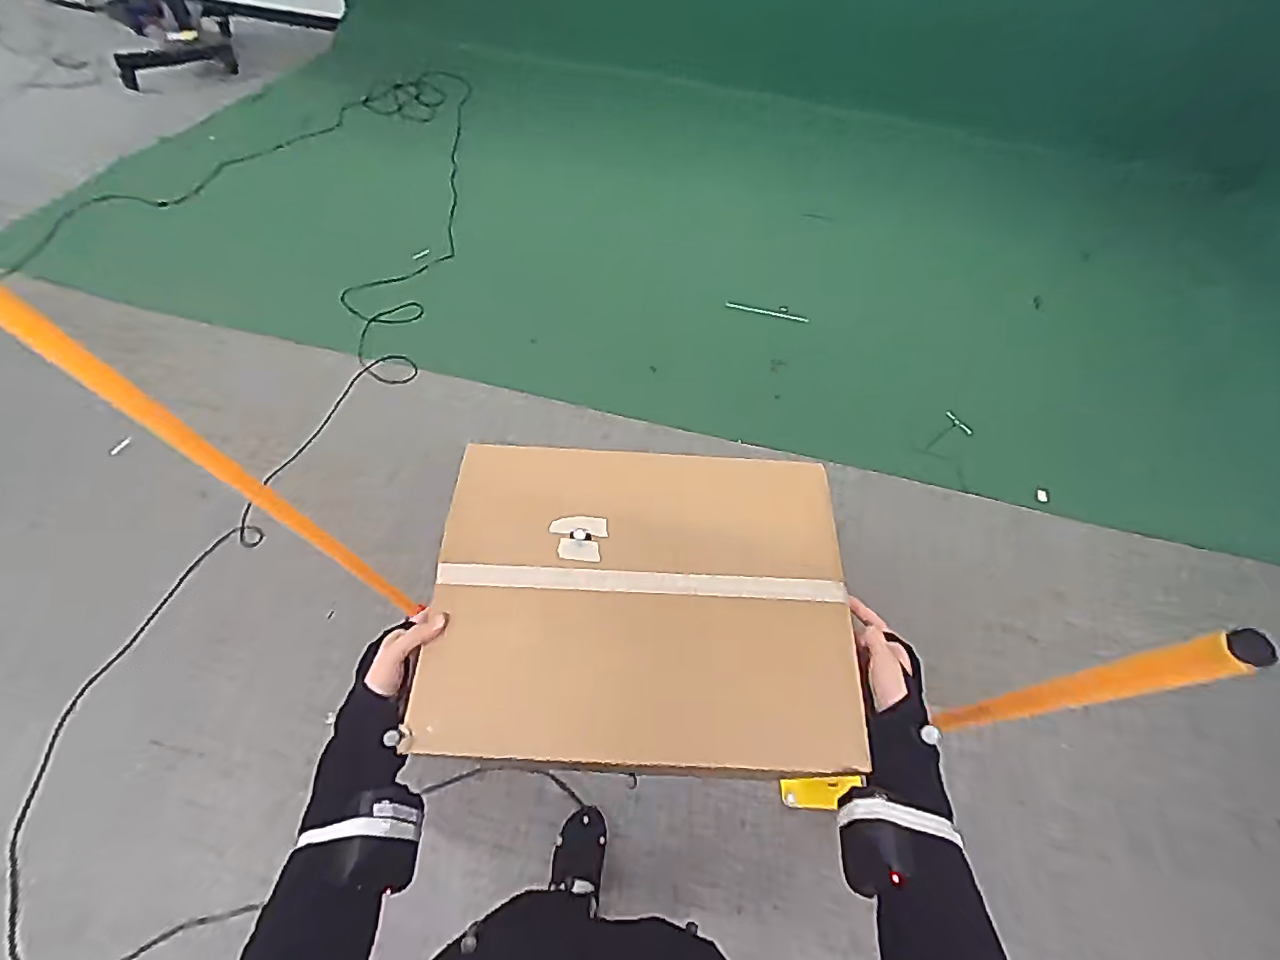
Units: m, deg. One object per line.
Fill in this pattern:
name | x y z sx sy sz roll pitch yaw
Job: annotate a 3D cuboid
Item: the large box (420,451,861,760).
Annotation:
large box | 0.004 0.176 0.683 0.408 0.320 0.320 2 60 0
